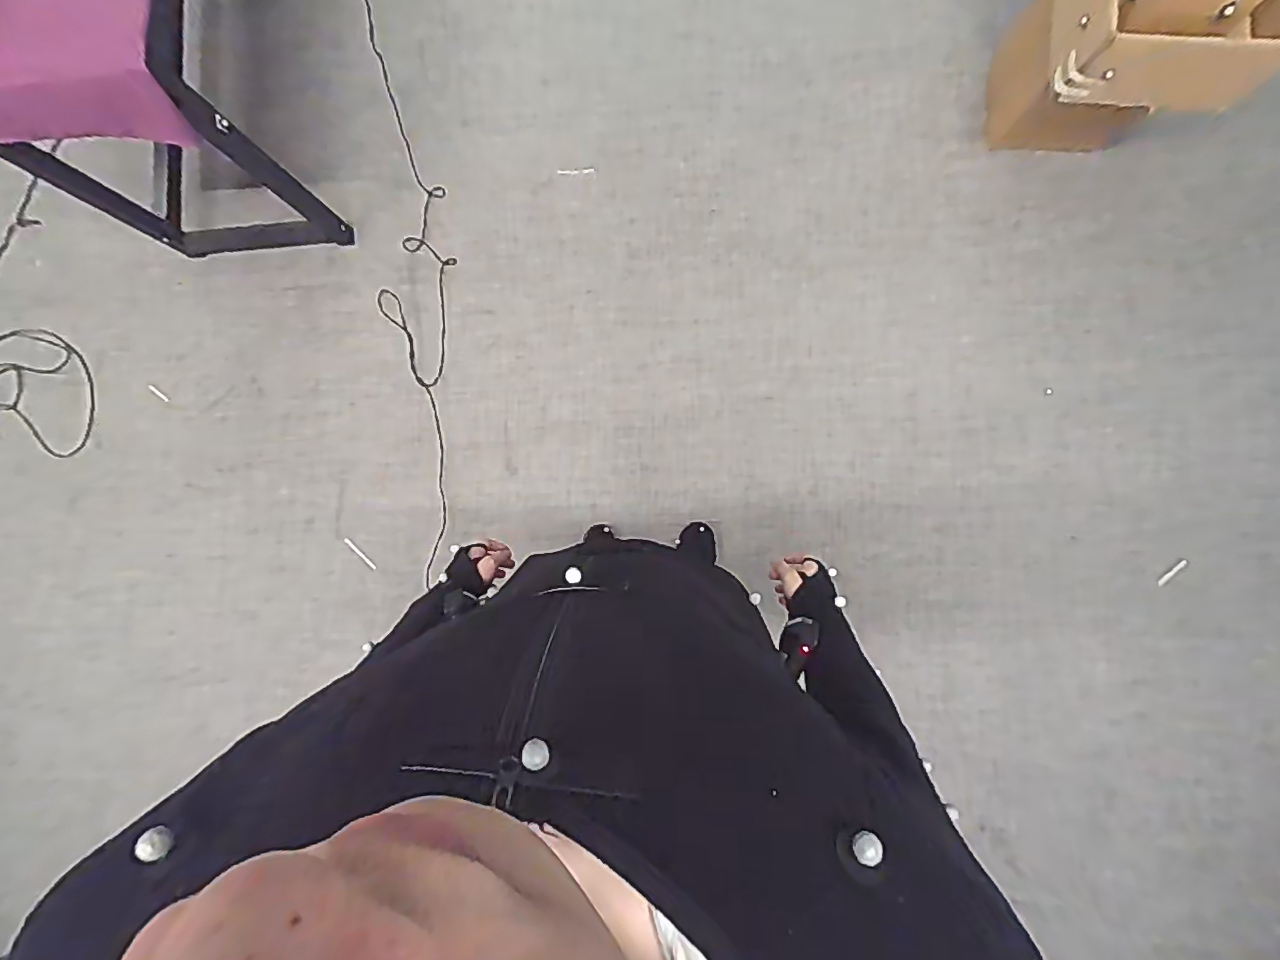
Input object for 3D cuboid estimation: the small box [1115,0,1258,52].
[{"bbox_3d":[1.160,-1.044,1.129,0.179,0.176,0.168,10,87,4],"label":"small box"}]
